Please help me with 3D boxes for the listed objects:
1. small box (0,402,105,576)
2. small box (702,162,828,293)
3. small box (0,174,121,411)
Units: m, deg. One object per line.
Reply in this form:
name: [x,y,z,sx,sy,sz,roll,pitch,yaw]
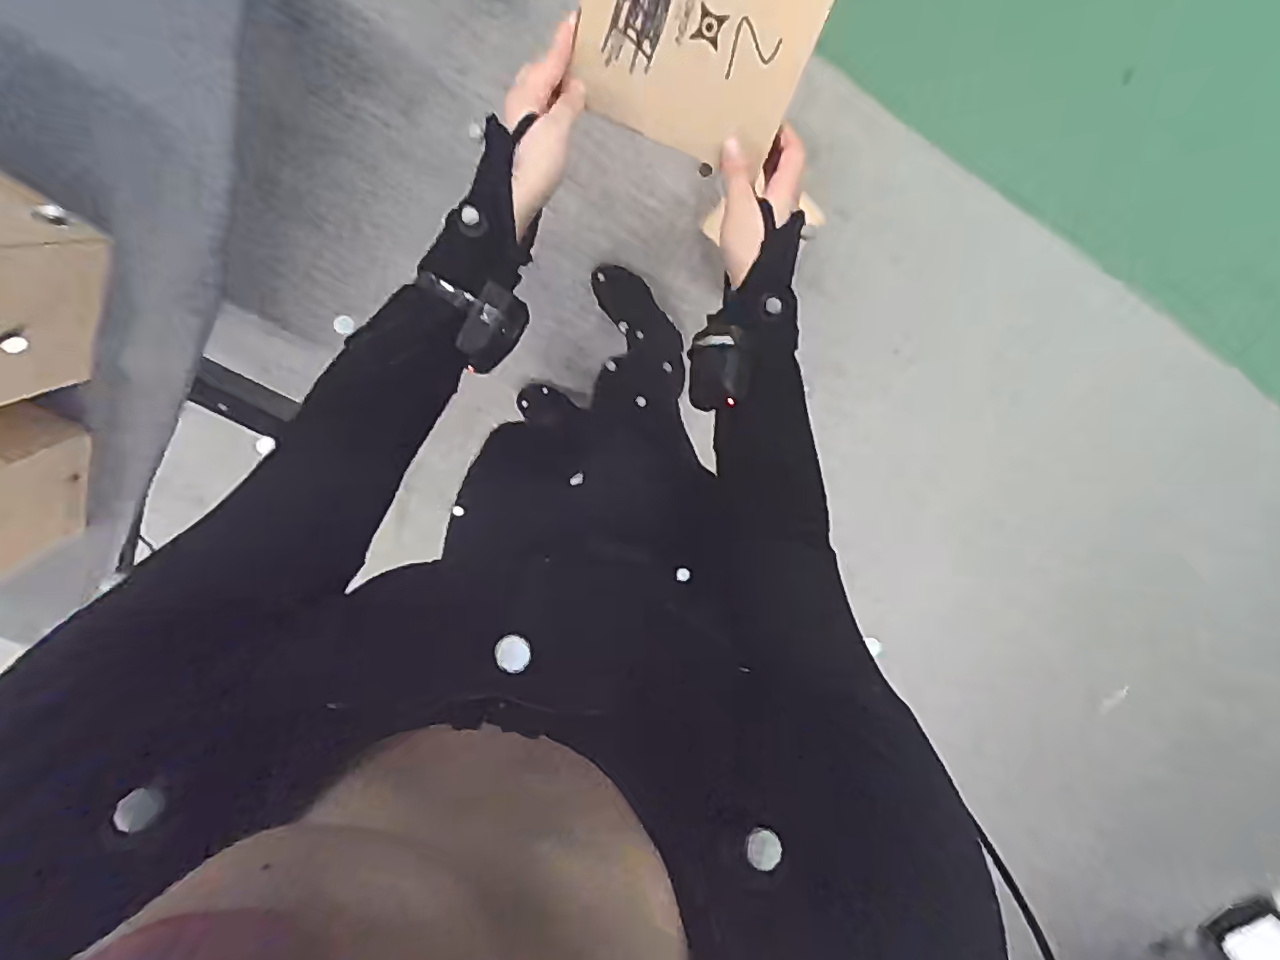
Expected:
small box: [-0.752,0.005,0.584,0.179,0.176,0.168,27,115,-11]
small box: [0.246,-0.515,1.104,0.179,0.176,0.168,36,112,-15]
small box: [-0.631,-0.180,0.487,0.168,0.176,0.179,32,115,-11]
